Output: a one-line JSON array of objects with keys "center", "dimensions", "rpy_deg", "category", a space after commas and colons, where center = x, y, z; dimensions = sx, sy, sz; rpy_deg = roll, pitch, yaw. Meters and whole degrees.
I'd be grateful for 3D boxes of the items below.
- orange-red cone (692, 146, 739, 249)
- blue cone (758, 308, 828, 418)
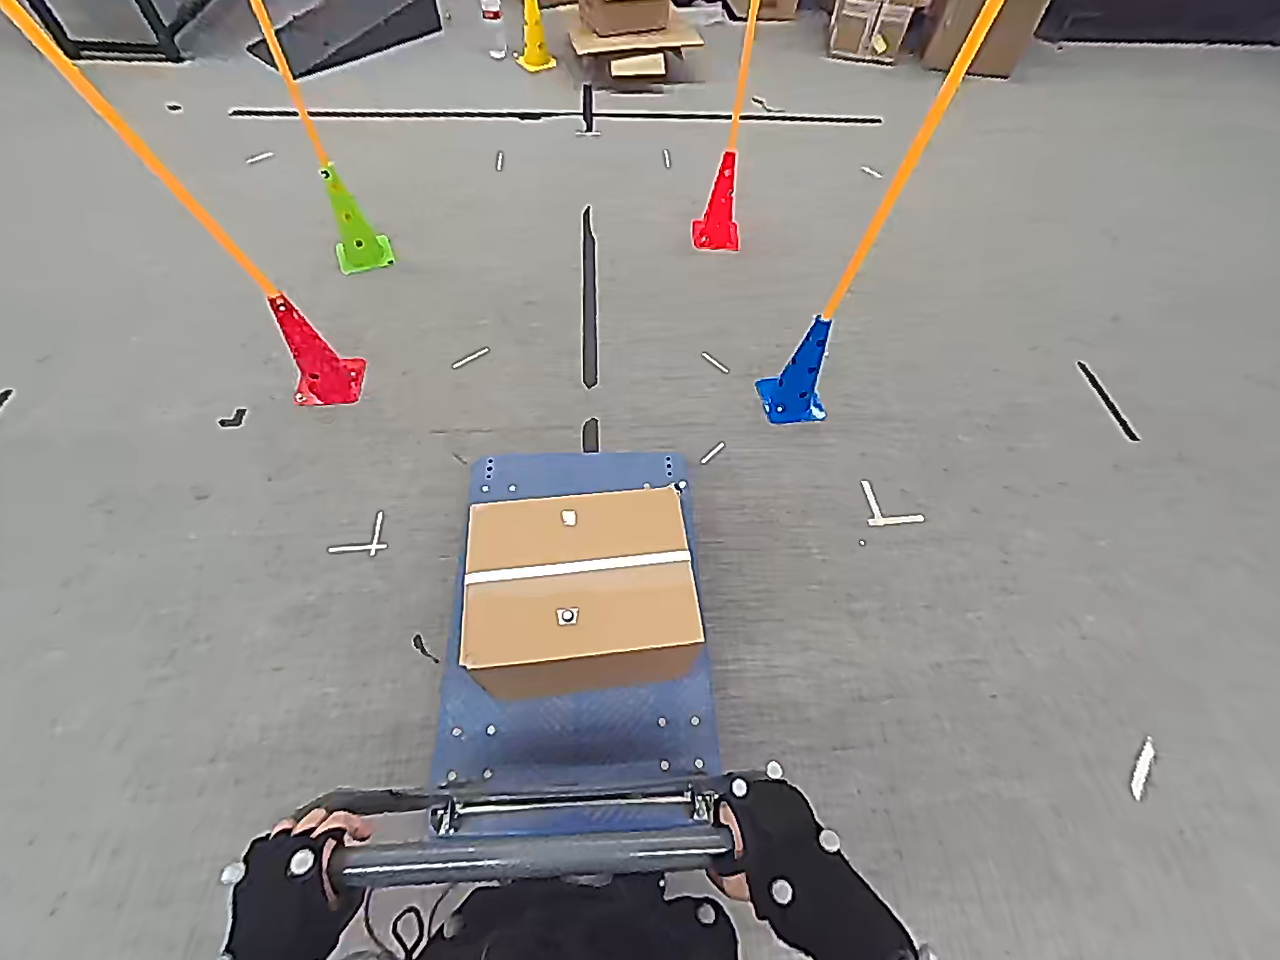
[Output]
[{"center": [0.332, -1.146, 2.167], "dimensions": [0.199, 0.360, 0.198], "rpy_deg": [4, 59, -2], "category": "orange-red cone"}, {"center": [0.521, -0.376, 1.717], "dimensions": [0.193, 0.380, 0.192], "rpy_deg": [-5, 57, -7], "category": "blue cone"}]
